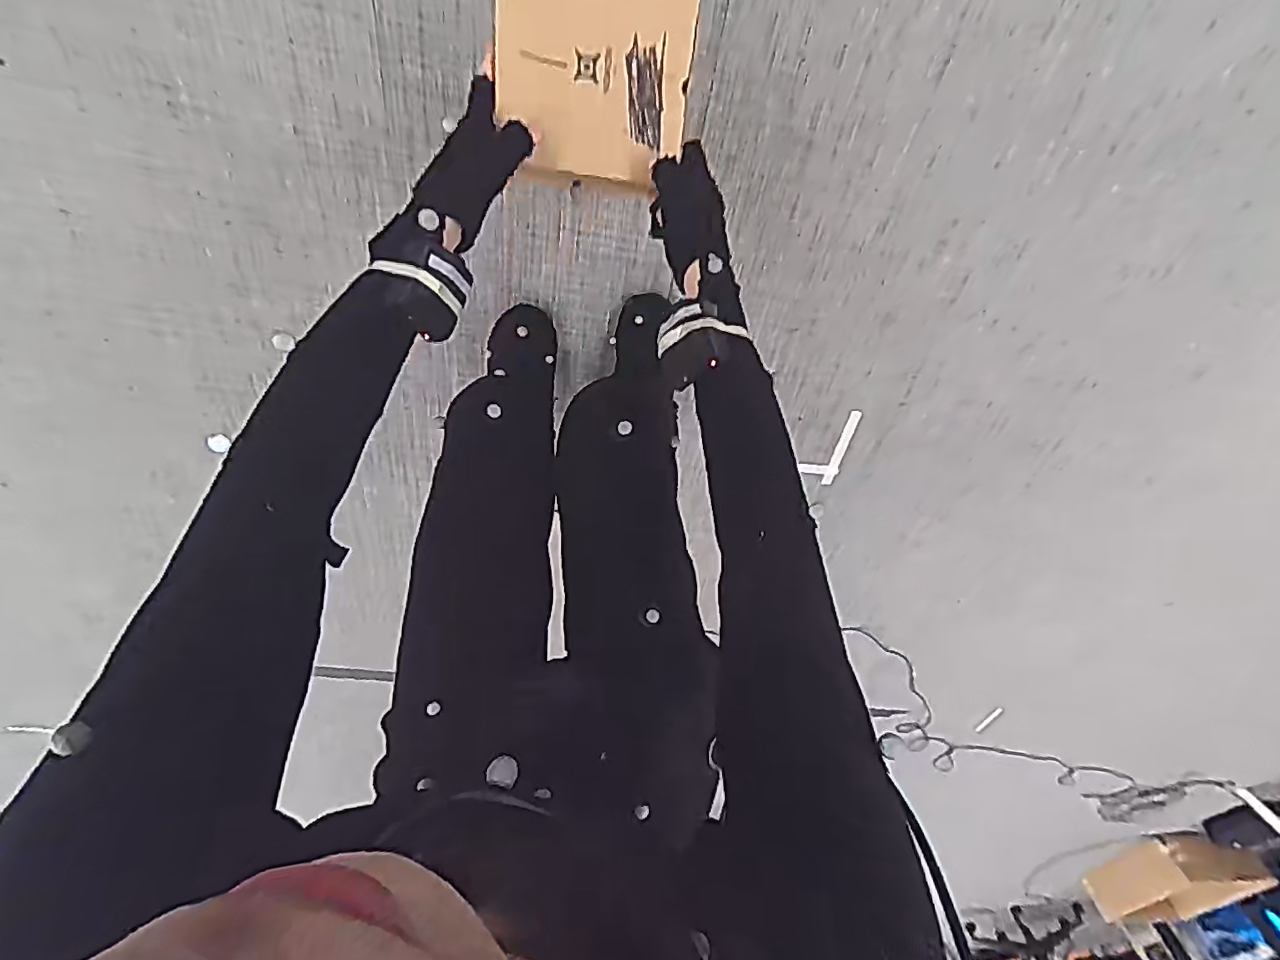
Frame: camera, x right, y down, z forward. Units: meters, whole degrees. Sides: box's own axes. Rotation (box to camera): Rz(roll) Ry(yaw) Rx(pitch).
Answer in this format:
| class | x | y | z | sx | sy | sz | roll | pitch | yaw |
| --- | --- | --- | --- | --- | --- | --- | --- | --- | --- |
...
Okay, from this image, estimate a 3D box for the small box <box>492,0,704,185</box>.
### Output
| class | x | y | z | sx | sy | sz | roll | pitch | yaw |
| --- | --- | --- | --- | --- | --- | --- | --- | --- | --- |
| small box | -0.051 | -0.399 | 0.539 | 0.179 | 0.176 | 0.168 | 3 | 115 | -11 |
